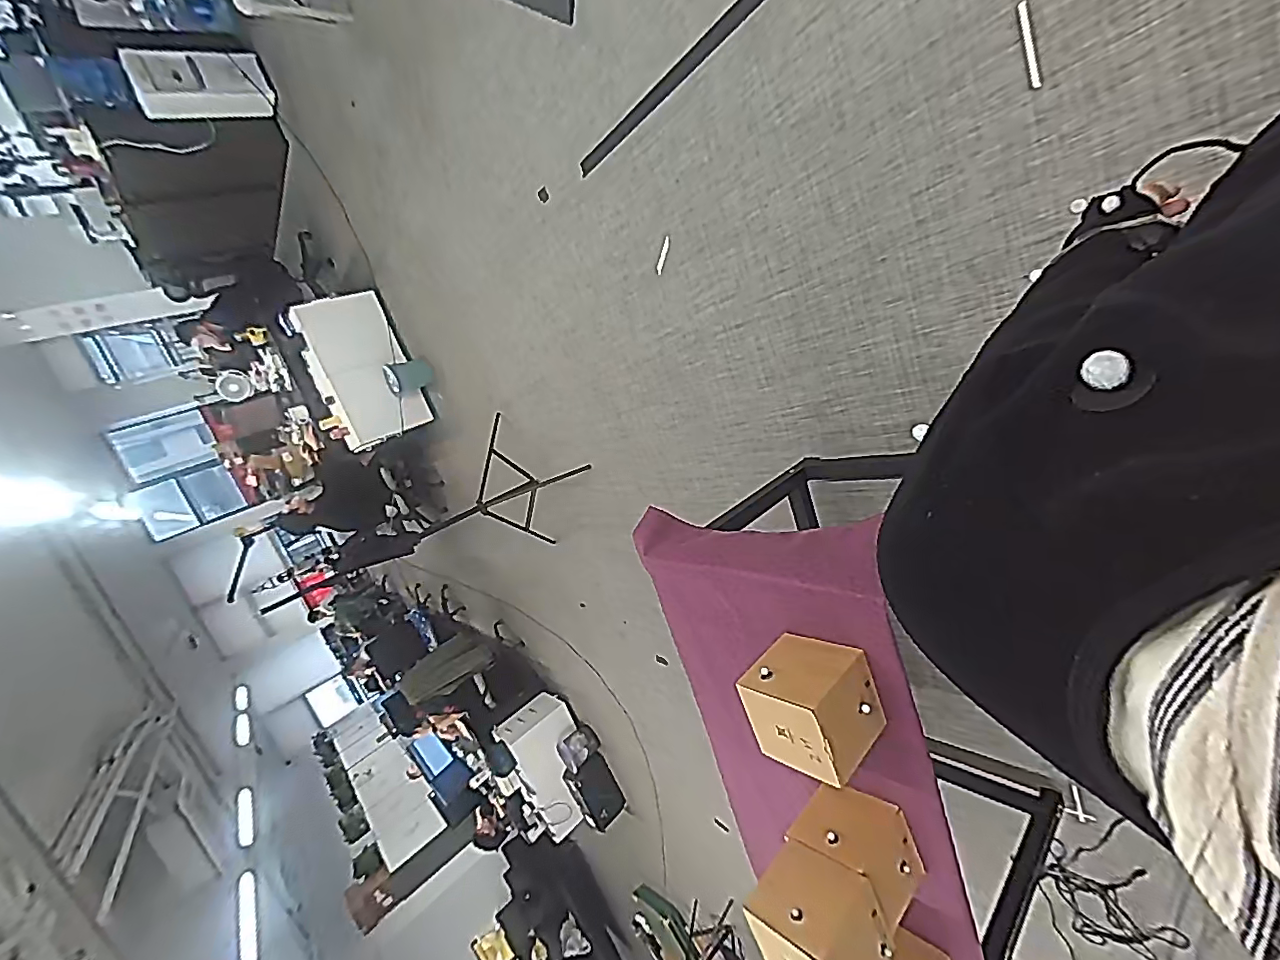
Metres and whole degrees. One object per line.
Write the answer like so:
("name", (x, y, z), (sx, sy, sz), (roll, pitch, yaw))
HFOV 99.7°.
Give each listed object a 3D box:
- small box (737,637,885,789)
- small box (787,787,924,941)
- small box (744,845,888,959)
("small box", (0.316, 0.414, 0.996), (0.179, 0.176, 0.168), (-5, 112, 53))
("small box", (0.438, 0.761, 1.099), (0.179, 0.176, 0.168), (-11, 105, 53))
("small box", (0.330, 0.824, 0.991), (0.179, 0.176, 0.168), (-9, 107, 53))
